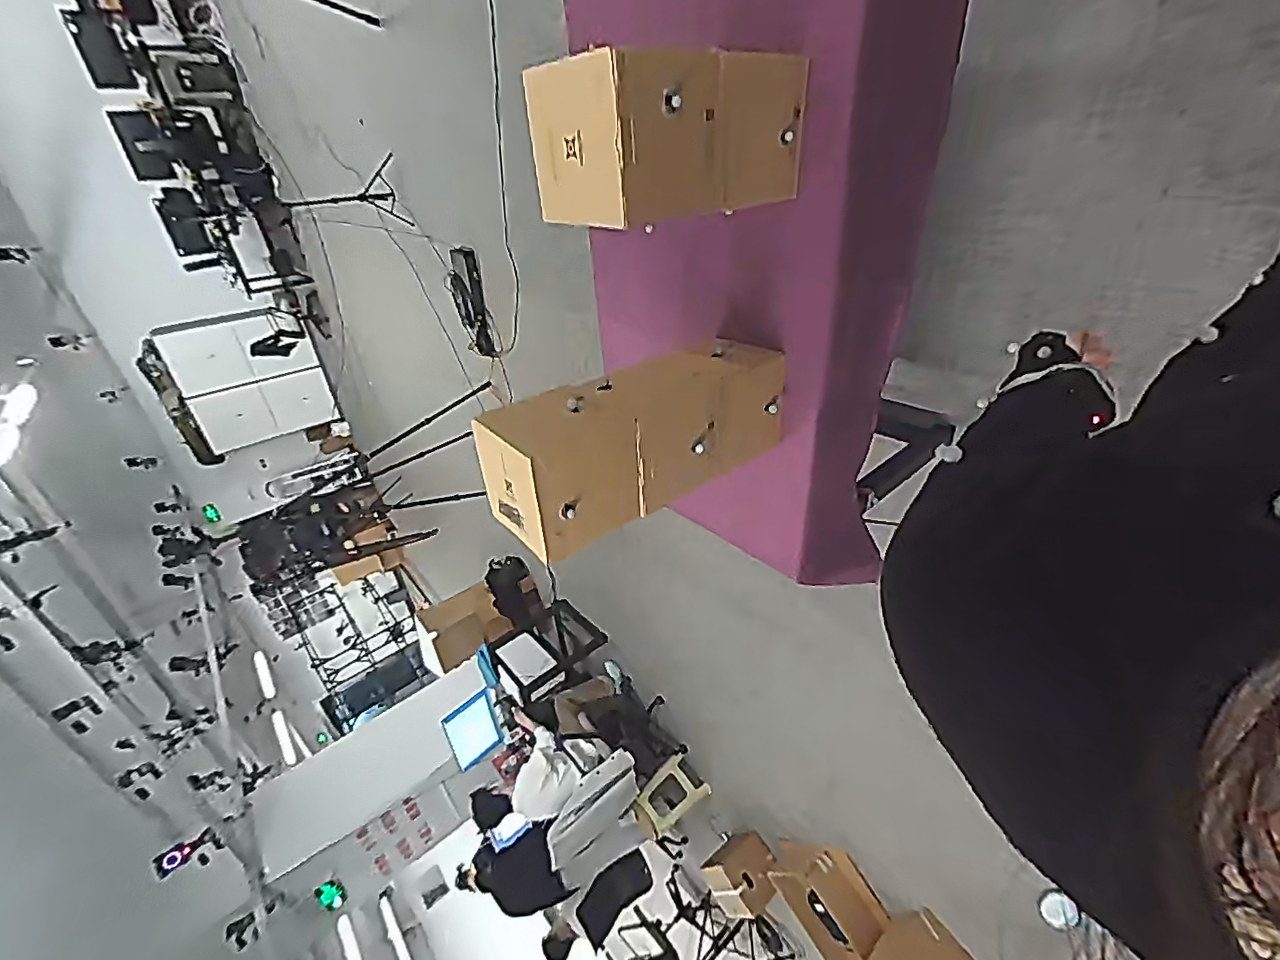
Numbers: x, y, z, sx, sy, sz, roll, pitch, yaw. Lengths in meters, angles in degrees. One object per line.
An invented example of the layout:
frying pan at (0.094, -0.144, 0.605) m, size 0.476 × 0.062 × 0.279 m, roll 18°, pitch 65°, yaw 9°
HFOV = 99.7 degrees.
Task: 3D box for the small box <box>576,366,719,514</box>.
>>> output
small box at (0.007, -0.076, 0.883) m, size 0.179 × 0.176 × 0.168 m, roll 29°, pitch 135°, yaw 41°

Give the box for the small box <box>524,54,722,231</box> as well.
small box at (-0.015, -0.415, 0.670) m, size 0.179 × 0.176 × 0.168 m, roll 29°, pitch 135°, yaw 41°

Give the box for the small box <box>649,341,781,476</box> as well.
small box at (0.135, -0.137, 0.968) m, size 0.168 × 0.176 × 0.179 m, roll 28°, pitch 133°, yaw 43°

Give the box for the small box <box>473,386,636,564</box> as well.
small box at (-0.117, -0.016, 0.793) m, size 0.168 × 0.176 × 0.179 m, roll 31°, pitch 135°, yaw 40°
